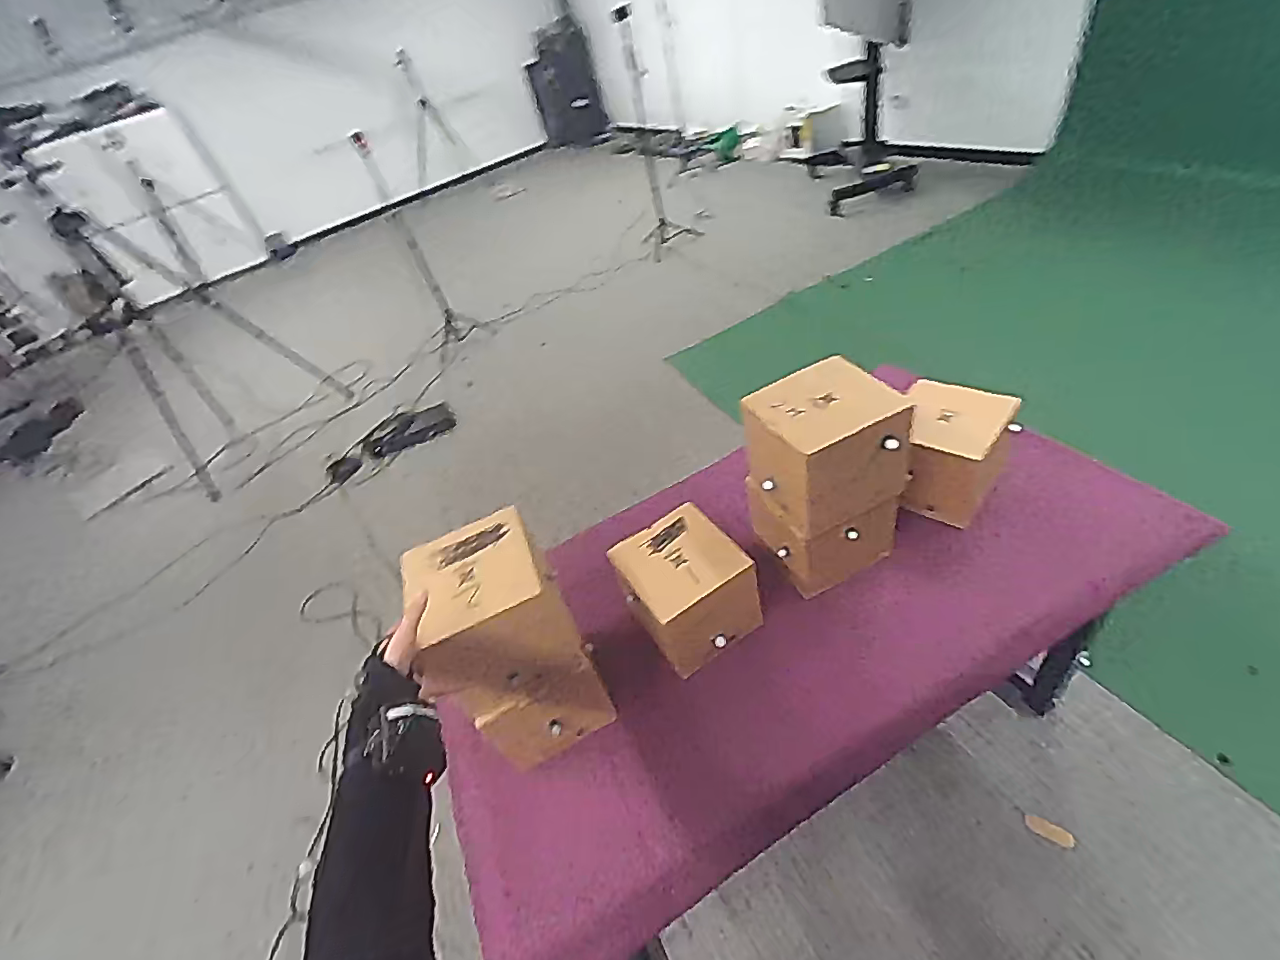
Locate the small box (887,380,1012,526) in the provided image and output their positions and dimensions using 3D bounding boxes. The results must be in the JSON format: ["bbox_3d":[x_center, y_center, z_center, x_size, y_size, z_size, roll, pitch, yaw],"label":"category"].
[{"bbox_3d":[0.528,-0.048,0.964,0.168,0.176,0.179,24,56,39],"label":"small box"}]

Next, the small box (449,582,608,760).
[{"bbox_3d":[-0.166,0.297,0.826,0.168,0.176,0.179,-26,42,-10],"label":"small box"}]

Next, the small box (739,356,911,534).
[{"bbox_3d":[0.268,-0.053,0.809,0.179,0.176,0.168,-25,41,-8],"label":"small box"}]

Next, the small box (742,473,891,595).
[{"bbox_3d":[0.298,0.064,0.922,0.179,0.176,0.168,-25,42,-9],"label":"small box"}]

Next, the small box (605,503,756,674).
[{"bbox_3d":[0.068,0.175,0.878,0.168,0.176,0.179,-31,43,-14],"label":"small box"}]
